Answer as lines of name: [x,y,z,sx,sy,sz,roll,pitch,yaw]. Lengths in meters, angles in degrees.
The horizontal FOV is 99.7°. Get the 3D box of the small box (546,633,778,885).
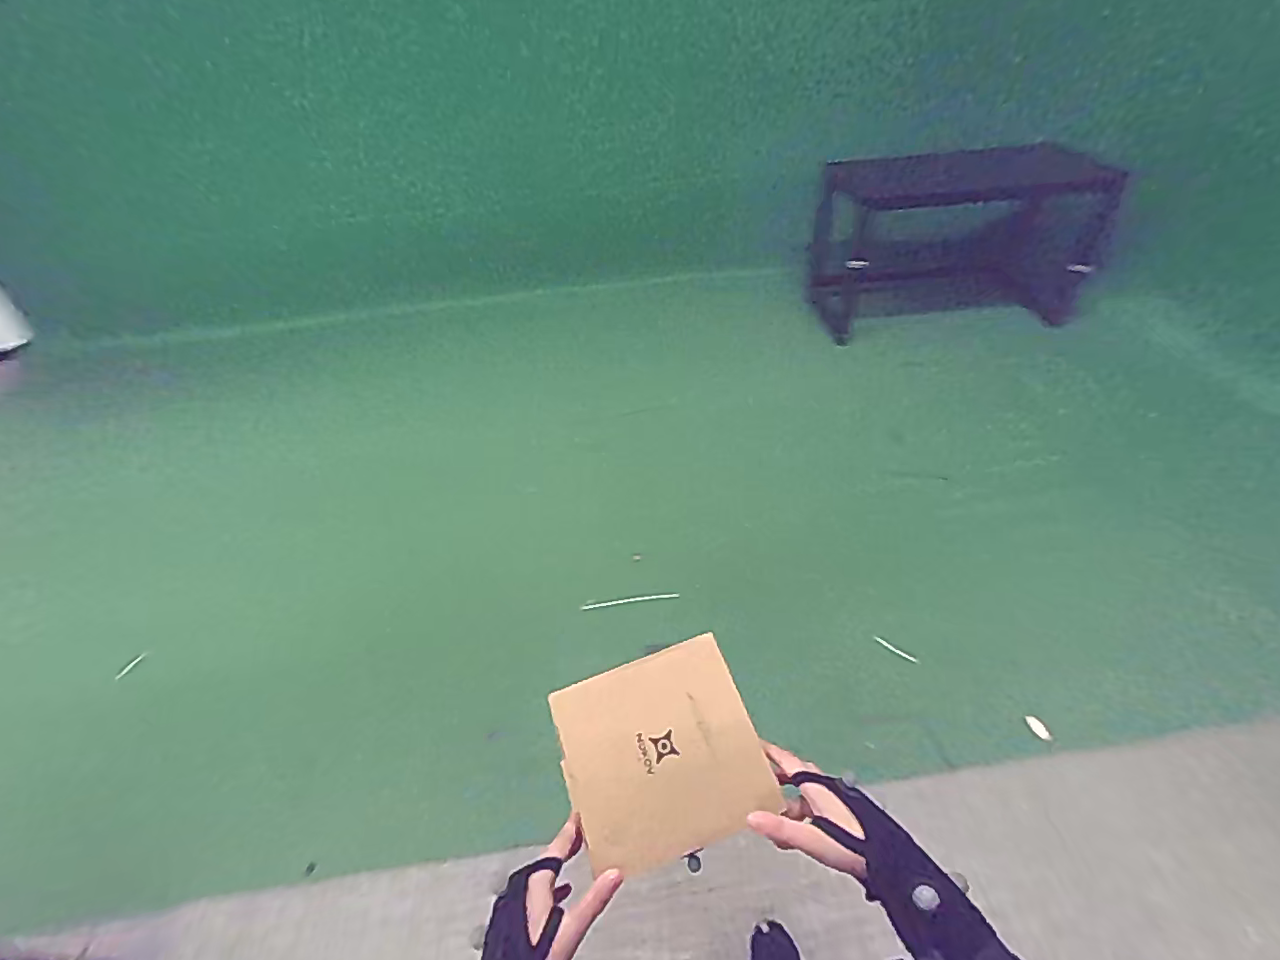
small box: [0.022,0.290,0.563,0.179,0.176,0.168,-20,57,-7]
